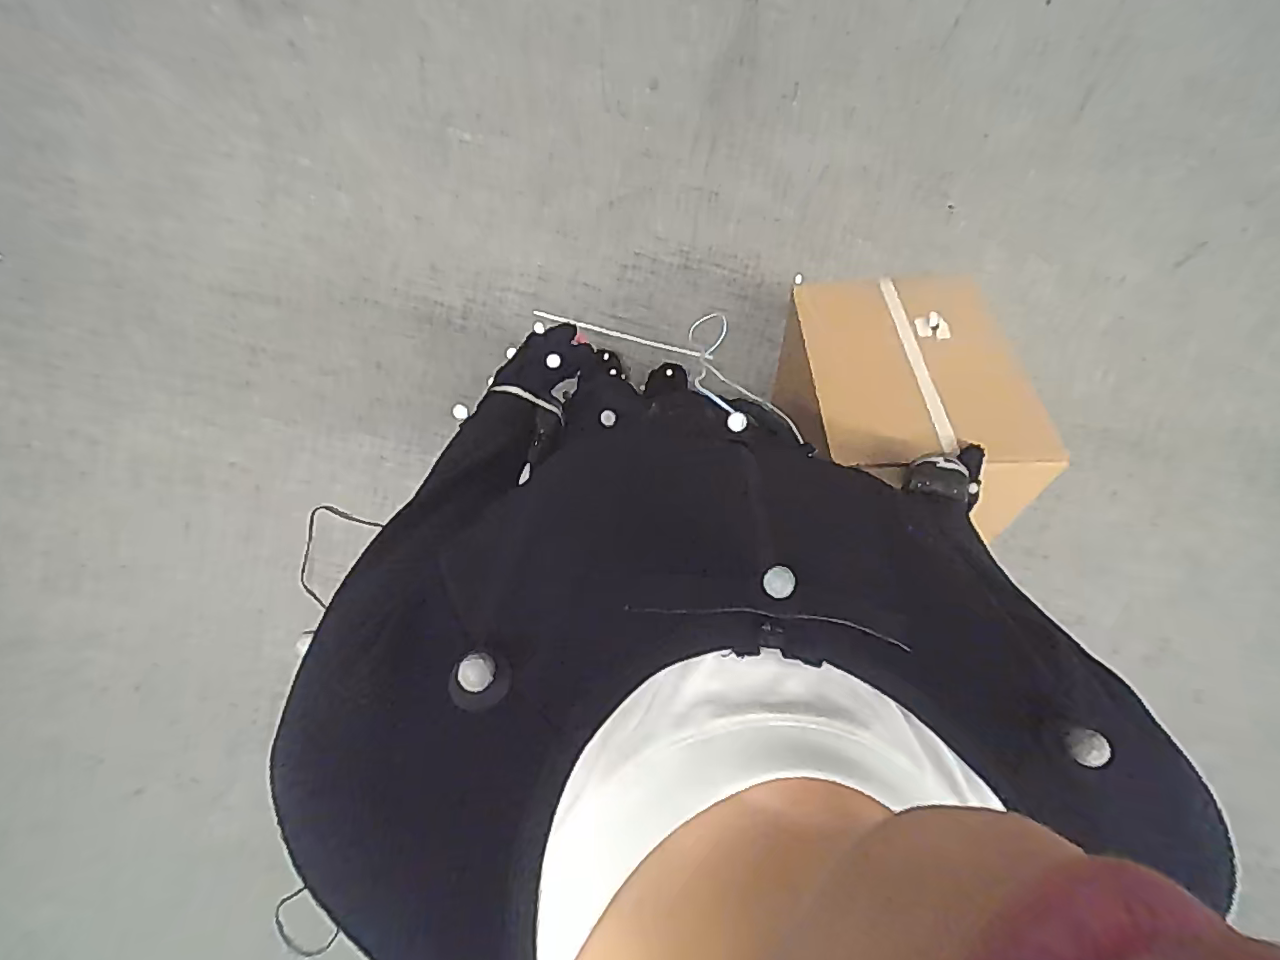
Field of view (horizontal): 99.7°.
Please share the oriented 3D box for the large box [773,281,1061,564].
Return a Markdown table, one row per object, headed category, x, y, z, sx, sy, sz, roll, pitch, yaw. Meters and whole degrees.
| category | x | y | z | sx | sy | sz | roll | pitch | yaw |
| --- | --- | --- | --- | --- | --- | --- | --- | --- | --- |
| large box | 0.433 | -0.097 | 0.971 | 0.320 | 0.408 | 0.320 | -1 | 146 | 3 |
